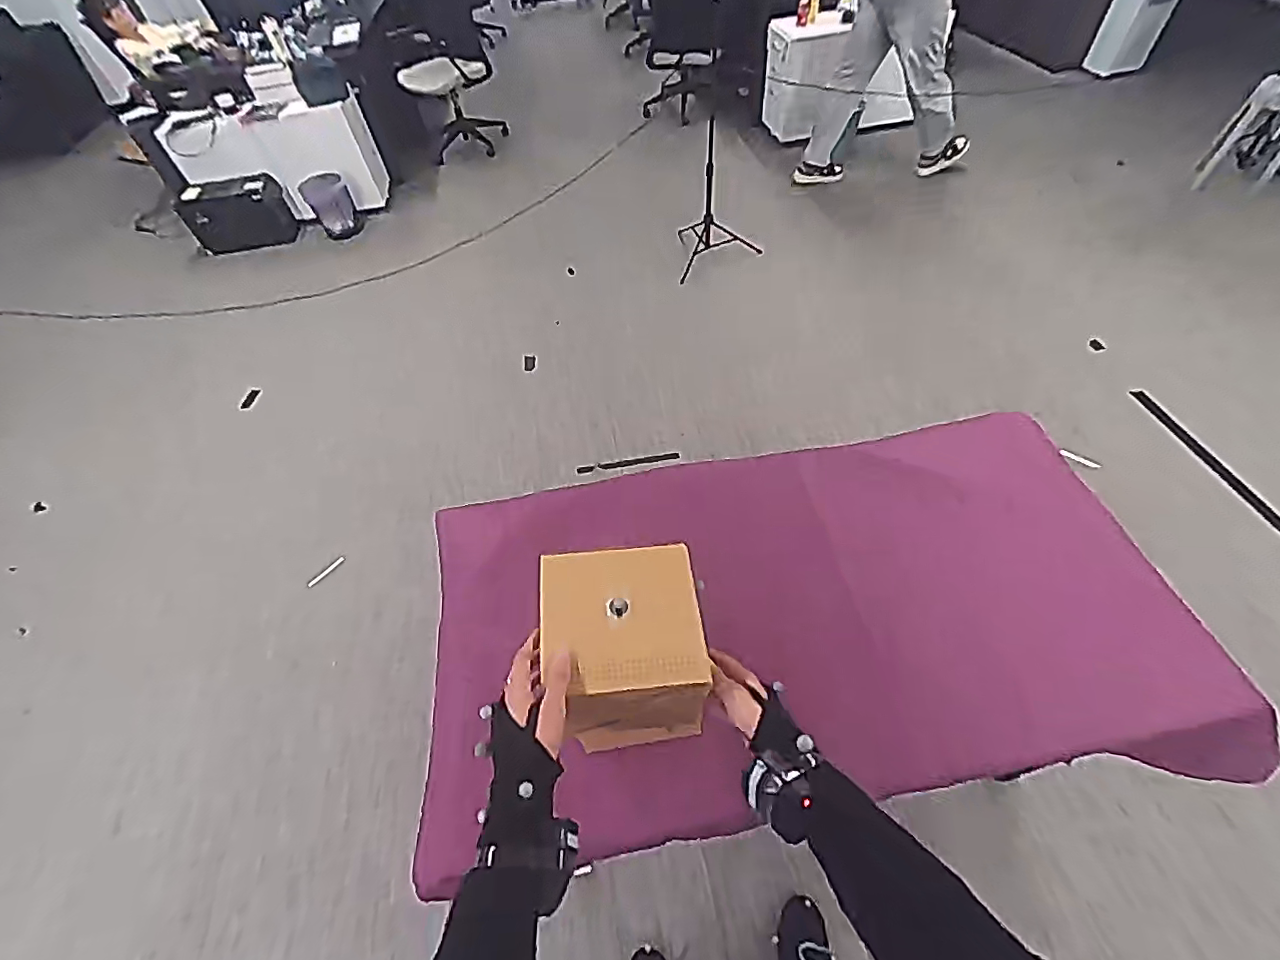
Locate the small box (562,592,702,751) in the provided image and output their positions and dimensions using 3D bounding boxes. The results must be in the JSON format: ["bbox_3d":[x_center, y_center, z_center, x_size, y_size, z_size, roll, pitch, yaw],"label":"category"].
[{"bbox_3d":[-0.012,0.285,0.797,0.179,0.176,0.168,-9,52,-2],"label":"small box"}]
